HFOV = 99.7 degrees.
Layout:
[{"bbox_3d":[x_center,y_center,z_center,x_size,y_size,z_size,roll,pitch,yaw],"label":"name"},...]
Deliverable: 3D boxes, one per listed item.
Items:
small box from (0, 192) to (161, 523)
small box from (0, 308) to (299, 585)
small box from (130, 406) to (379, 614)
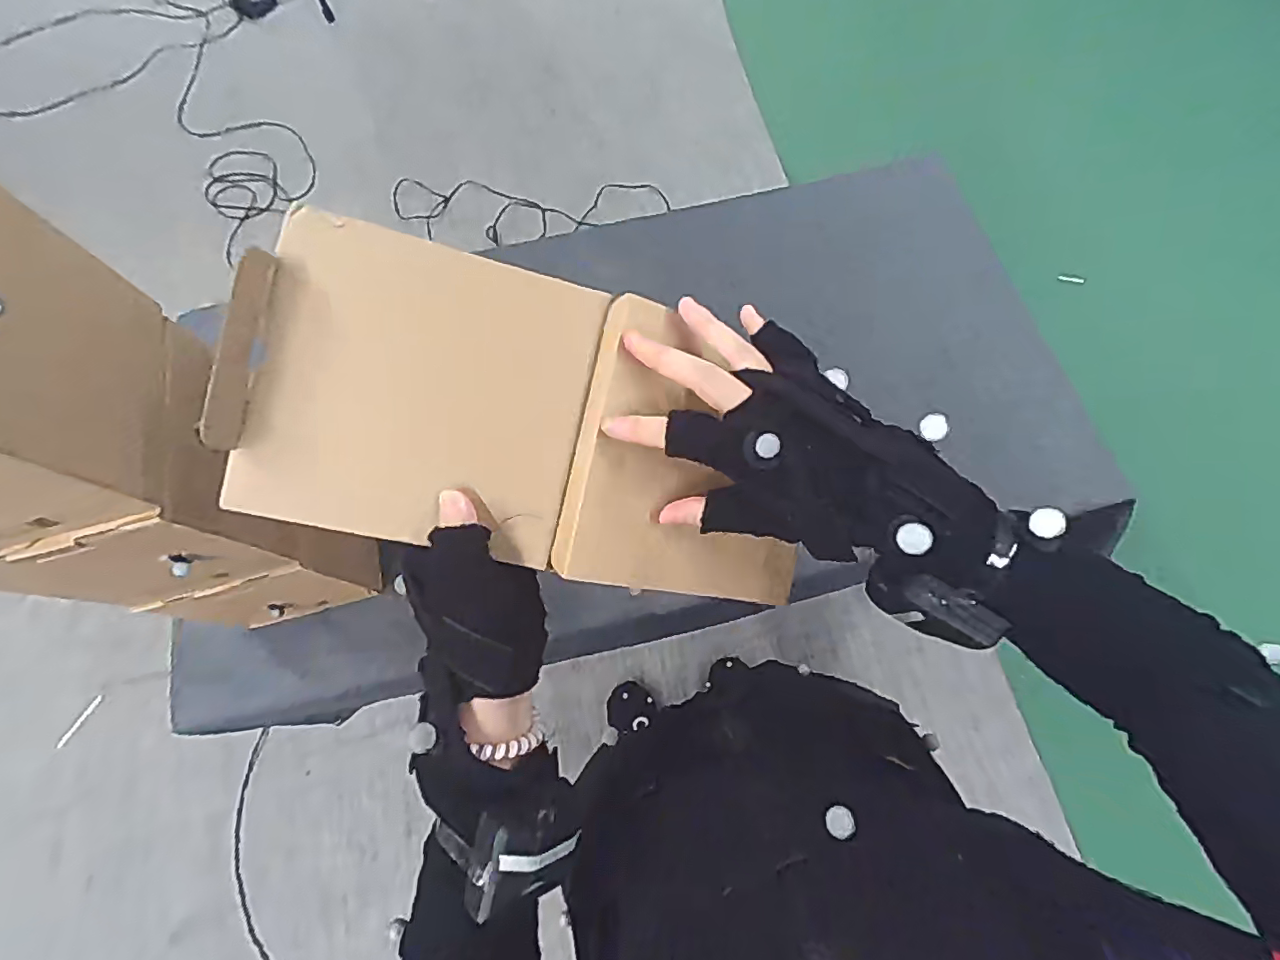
[{"bbox_3d":[-0.431,-0.073,0.317,0.168,0.176,0.179,-15,71,-5],"label":"small box"},{"bbox_3d":[-0.427,-0.013,0.470,0.168,0.176,0.179,-14,71,-4],"label":"small box"},{"bbox_3d":[-0.425,0.044,0.622,0.168,0.176,0.179,-15,72,-4],"label":"small box"}]
